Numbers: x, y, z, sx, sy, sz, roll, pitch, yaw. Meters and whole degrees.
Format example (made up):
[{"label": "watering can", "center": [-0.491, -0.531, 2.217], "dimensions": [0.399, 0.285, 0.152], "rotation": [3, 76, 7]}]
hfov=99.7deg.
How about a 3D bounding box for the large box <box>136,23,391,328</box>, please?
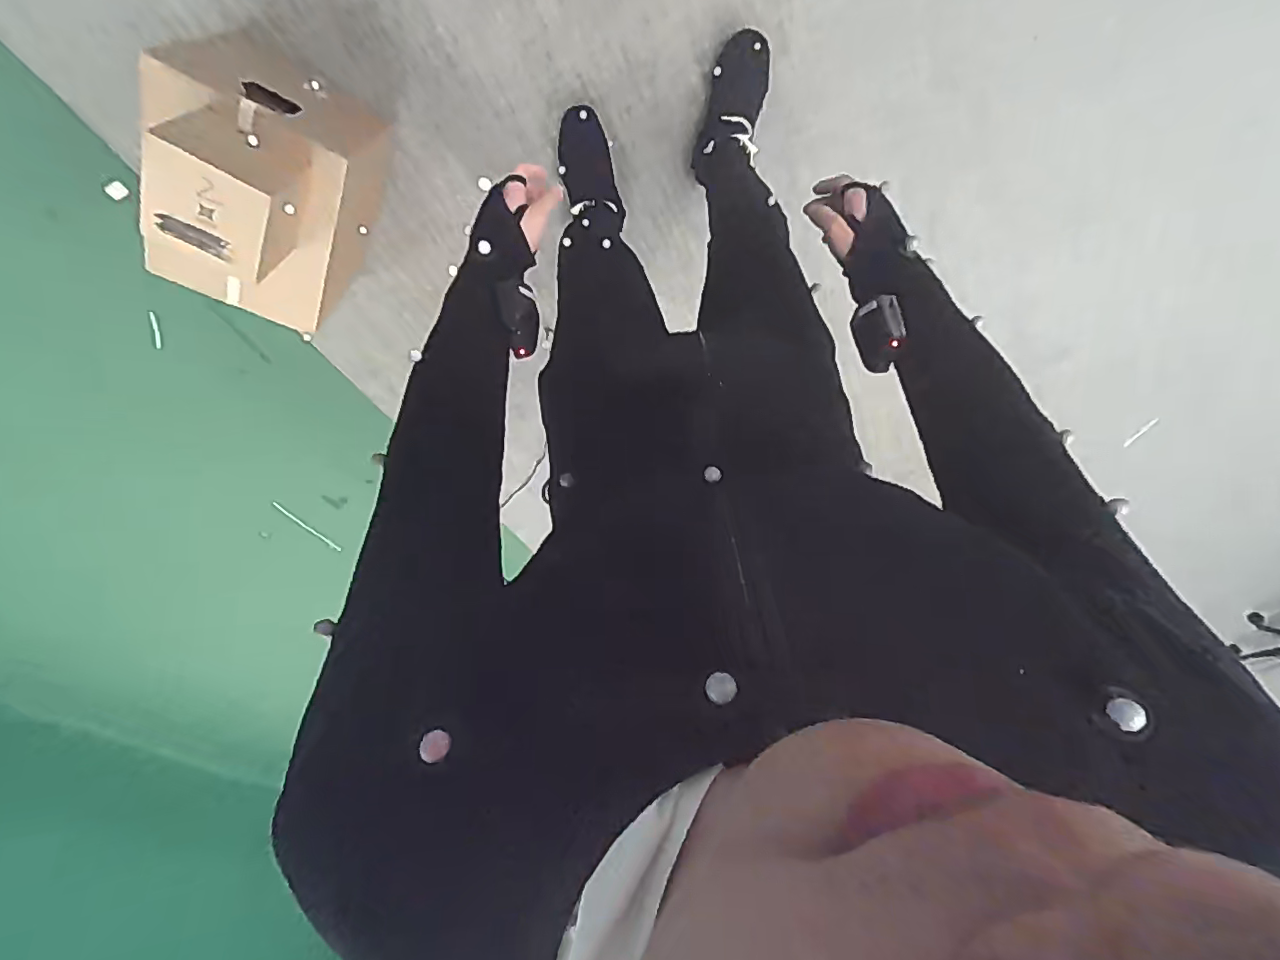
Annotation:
[{"label": "large box", "center": [-0.748, -0.610, 1.115], "dimensions": [0.320, 0.320, 0.408], "rotation": [22, 131, -21]}]
